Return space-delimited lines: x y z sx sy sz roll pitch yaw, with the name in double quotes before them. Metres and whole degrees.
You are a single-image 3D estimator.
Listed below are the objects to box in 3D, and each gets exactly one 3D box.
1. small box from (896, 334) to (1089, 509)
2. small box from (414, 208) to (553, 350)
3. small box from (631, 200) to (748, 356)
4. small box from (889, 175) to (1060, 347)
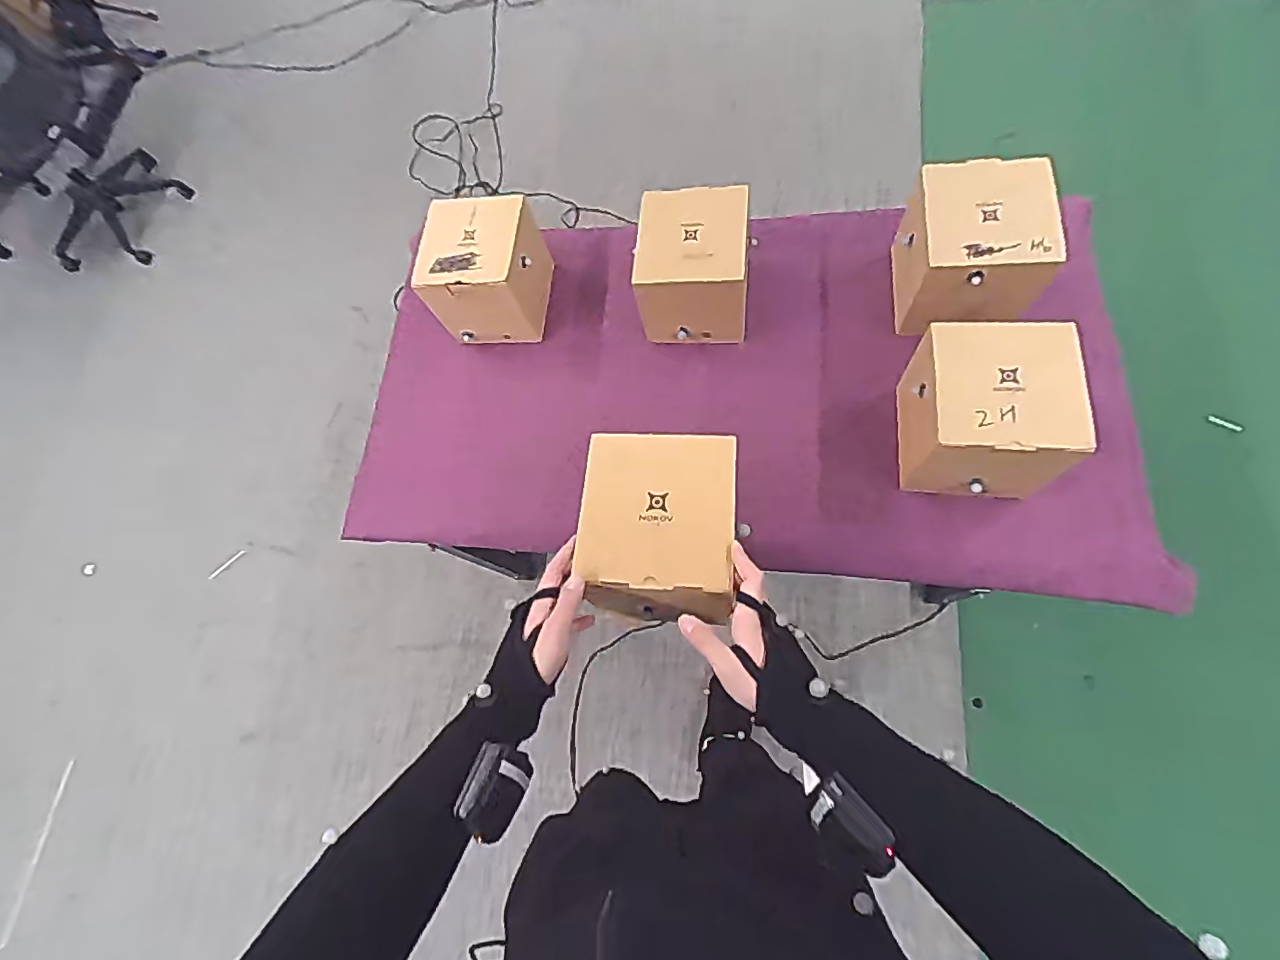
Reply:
"small box" 0.452 -0.074 0.727 0.168 0.176 0.179 3 70 13
"small box" -0.264 -0.344 0.953 0.168 0.176 0.179 2 70 10
"small box" 0.088 -0.325 0.887 0.168 0.176 0.179 3 72 12
"small box" 0.484 -0.320 0.813 0.168 0.176 0.179 2 71 11
